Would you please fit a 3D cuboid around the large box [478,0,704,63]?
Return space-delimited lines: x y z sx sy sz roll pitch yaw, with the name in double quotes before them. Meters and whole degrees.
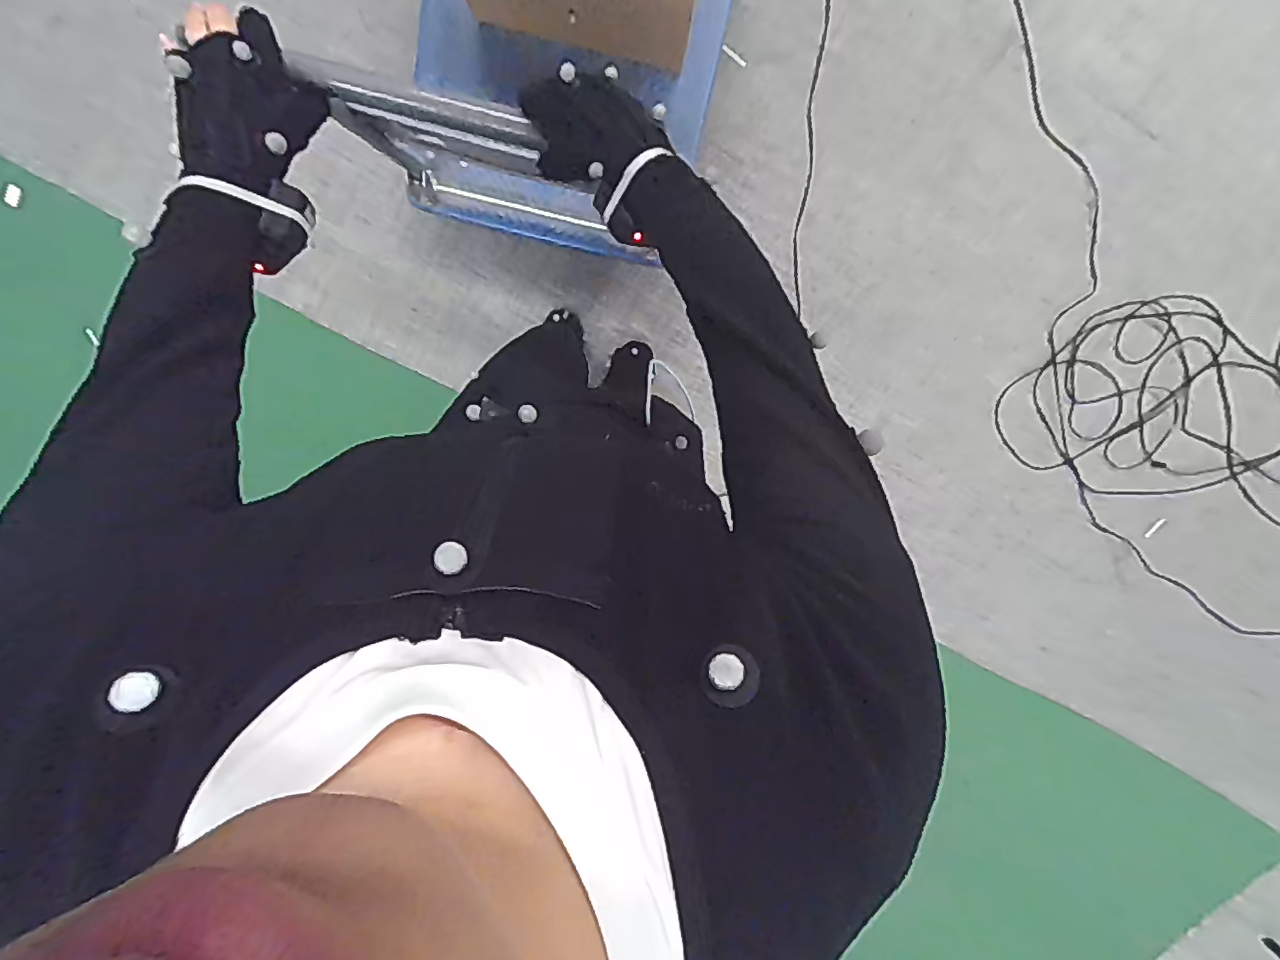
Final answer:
"large box" -0.072 -0.941 0.866 0.408 0.320 0.320 11 107 -3
